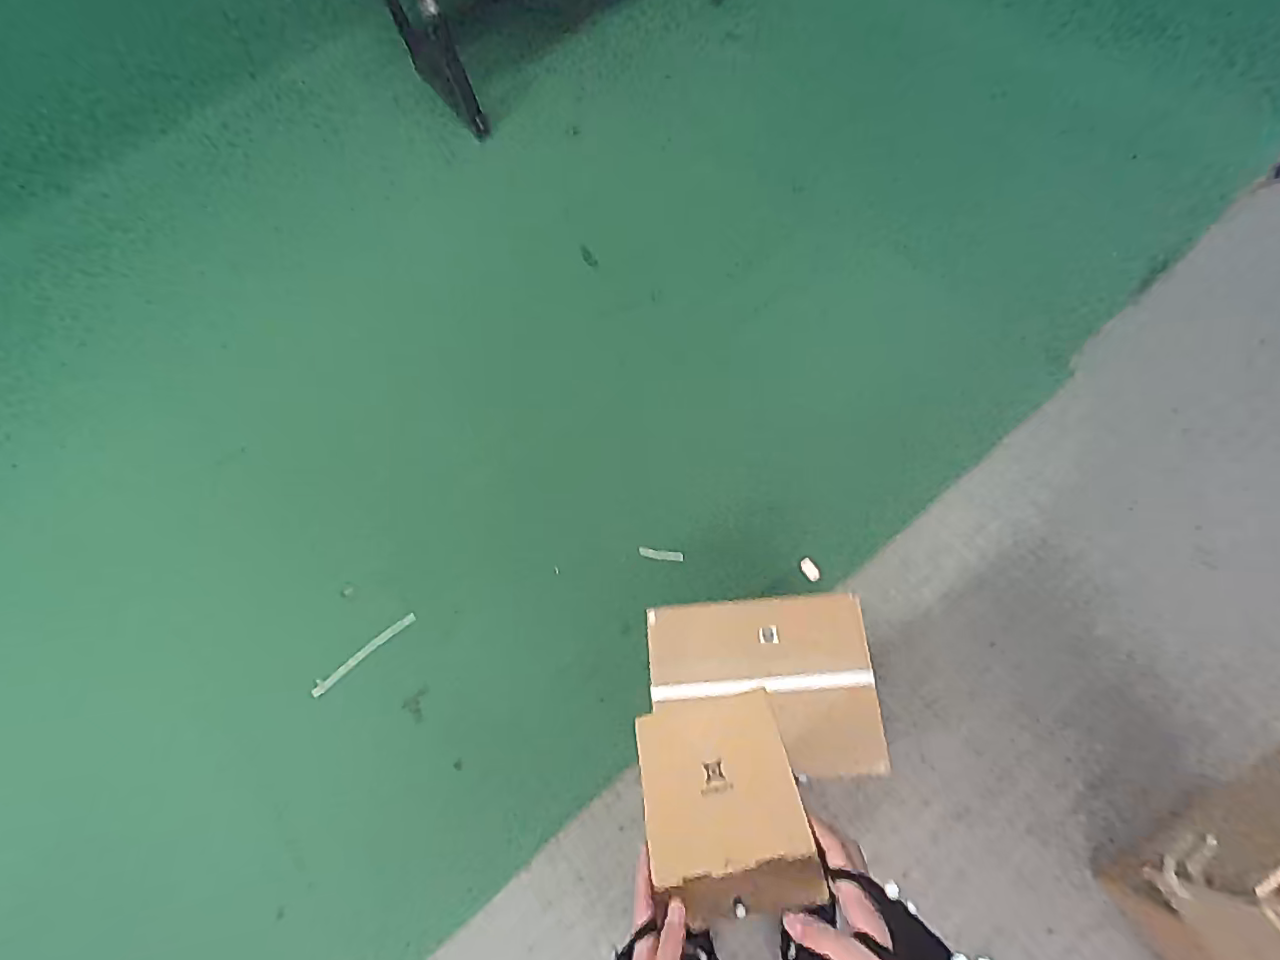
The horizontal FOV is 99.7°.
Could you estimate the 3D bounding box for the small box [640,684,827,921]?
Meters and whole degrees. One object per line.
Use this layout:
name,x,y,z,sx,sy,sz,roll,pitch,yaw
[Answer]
small box,0.106,0.373,0.628,0.168,0.176,0.179,-16,39,5
